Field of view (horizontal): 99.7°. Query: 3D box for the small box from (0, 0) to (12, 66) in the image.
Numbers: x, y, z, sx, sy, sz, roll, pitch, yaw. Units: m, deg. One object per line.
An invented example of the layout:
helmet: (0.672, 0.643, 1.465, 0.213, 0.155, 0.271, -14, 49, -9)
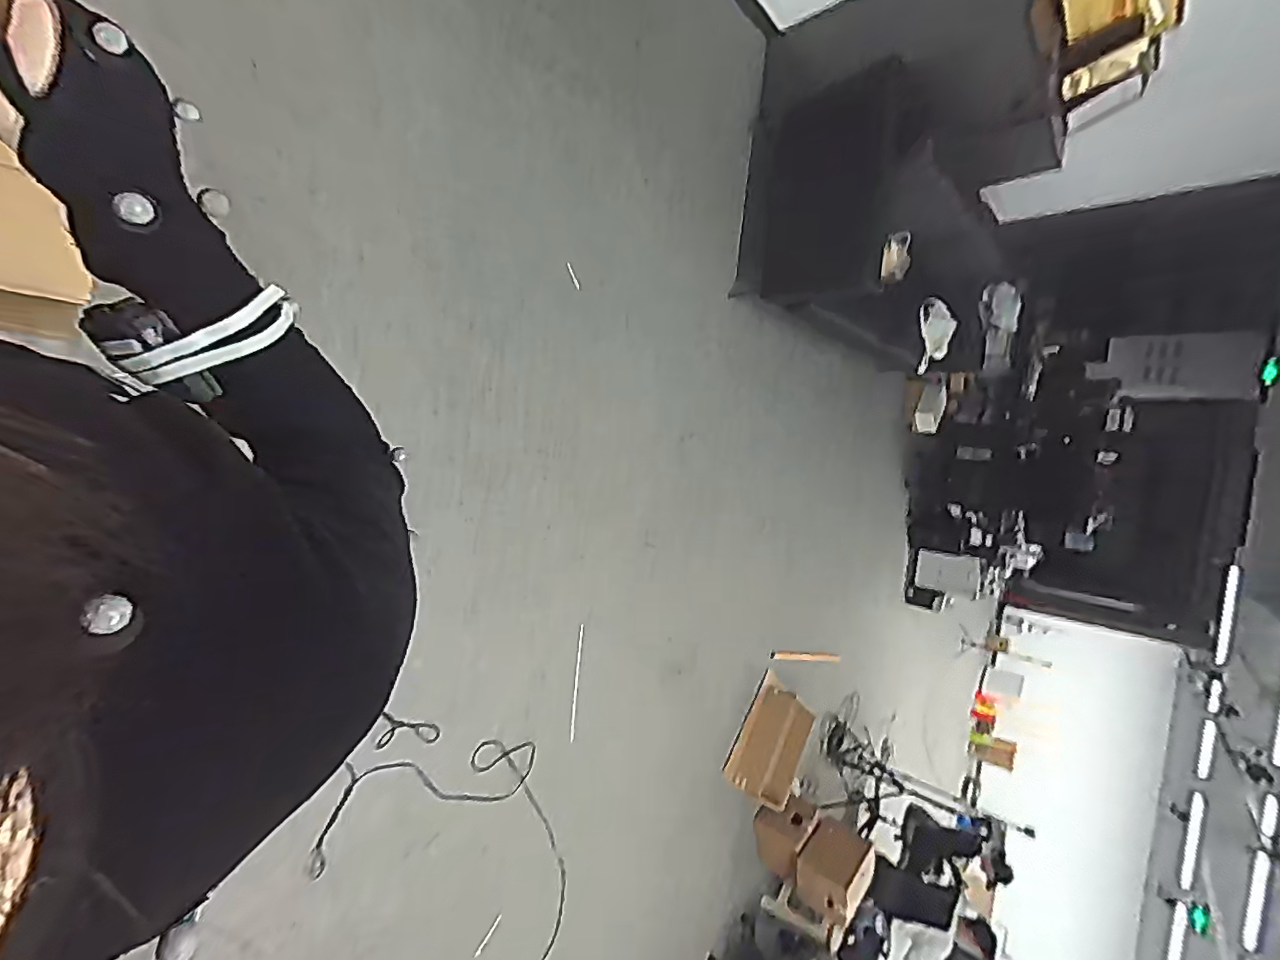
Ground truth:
small box: (-0.410, -0.314, 0.240, 0.179, 0.176, 0.168, 7, 103, -52)
